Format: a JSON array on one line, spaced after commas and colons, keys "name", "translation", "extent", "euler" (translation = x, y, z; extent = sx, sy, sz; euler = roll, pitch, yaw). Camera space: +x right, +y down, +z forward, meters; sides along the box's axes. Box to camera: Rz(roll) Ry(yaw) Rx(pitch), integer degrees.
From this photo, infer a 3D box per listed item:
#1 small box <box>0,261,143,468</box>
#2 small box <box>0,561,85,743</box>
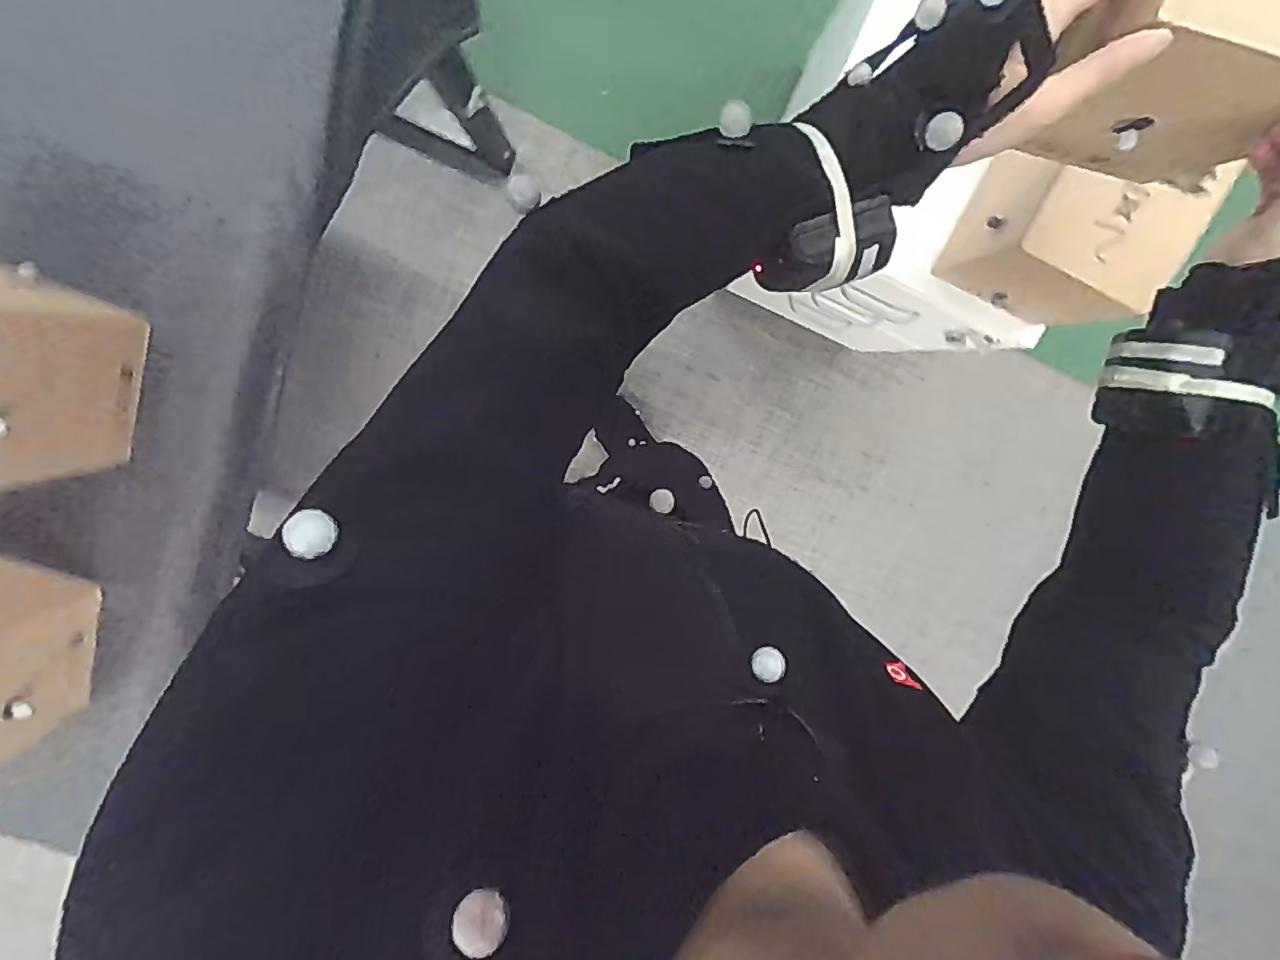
[{"name": "small box", "translation": [-0.620, -0.111, 0.486], "extent": [0.179, 0.176, 0.168], "euler": [20, 101, -6]}, {"name": "small box", "translation": [-0.734, 0.185, 0.549], "extent": [0.179, 0.176, 0.168], "euler": [18, 101, -6]}]
